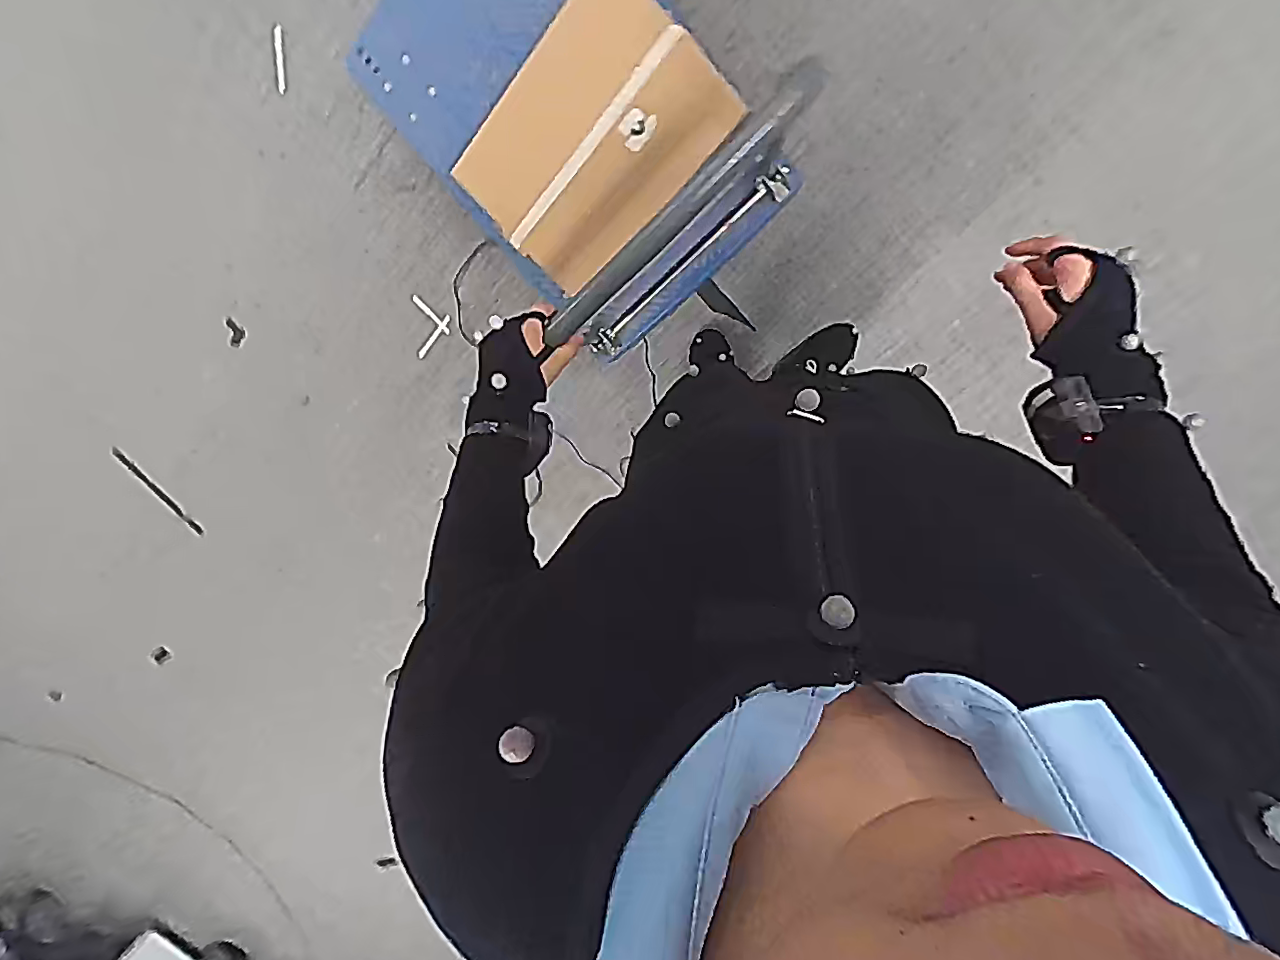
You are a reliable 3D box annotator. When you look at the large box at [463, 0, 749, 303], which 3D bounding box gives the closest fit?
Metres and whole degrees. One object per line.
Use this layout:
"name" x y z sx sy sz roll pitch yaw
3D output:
"large box" -0.046 -0.592 1.025 0.320 0.320 0.408 45 110 -7
